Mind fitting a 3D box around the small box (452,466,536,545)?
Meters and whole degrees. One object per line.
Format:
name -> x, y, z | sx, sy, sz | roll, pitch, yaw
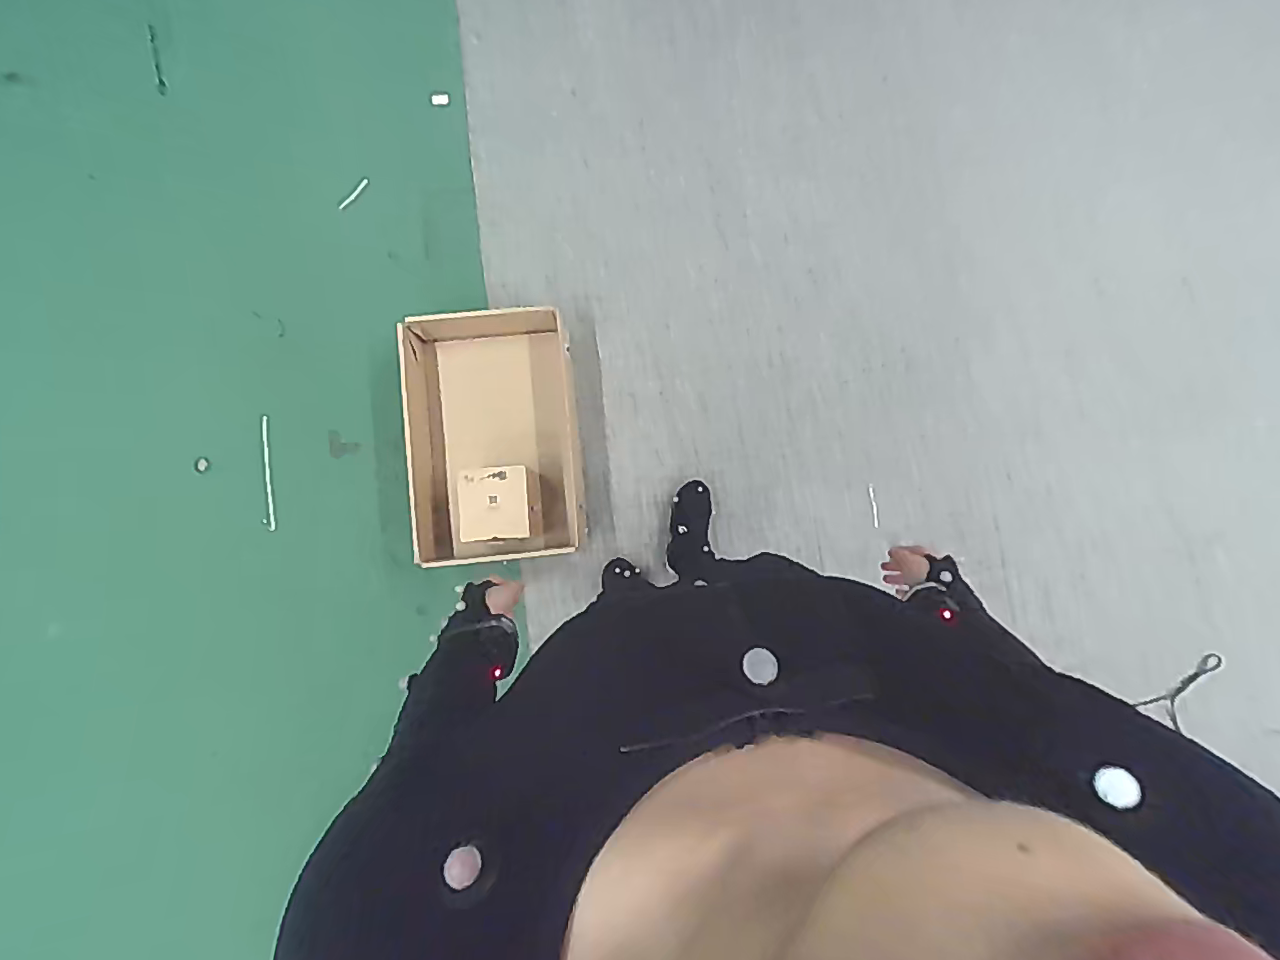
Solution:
small box -> -0.355, 0.062, 1.337 | 0.168, 0.176, 0.179 | -5, 86, -3
